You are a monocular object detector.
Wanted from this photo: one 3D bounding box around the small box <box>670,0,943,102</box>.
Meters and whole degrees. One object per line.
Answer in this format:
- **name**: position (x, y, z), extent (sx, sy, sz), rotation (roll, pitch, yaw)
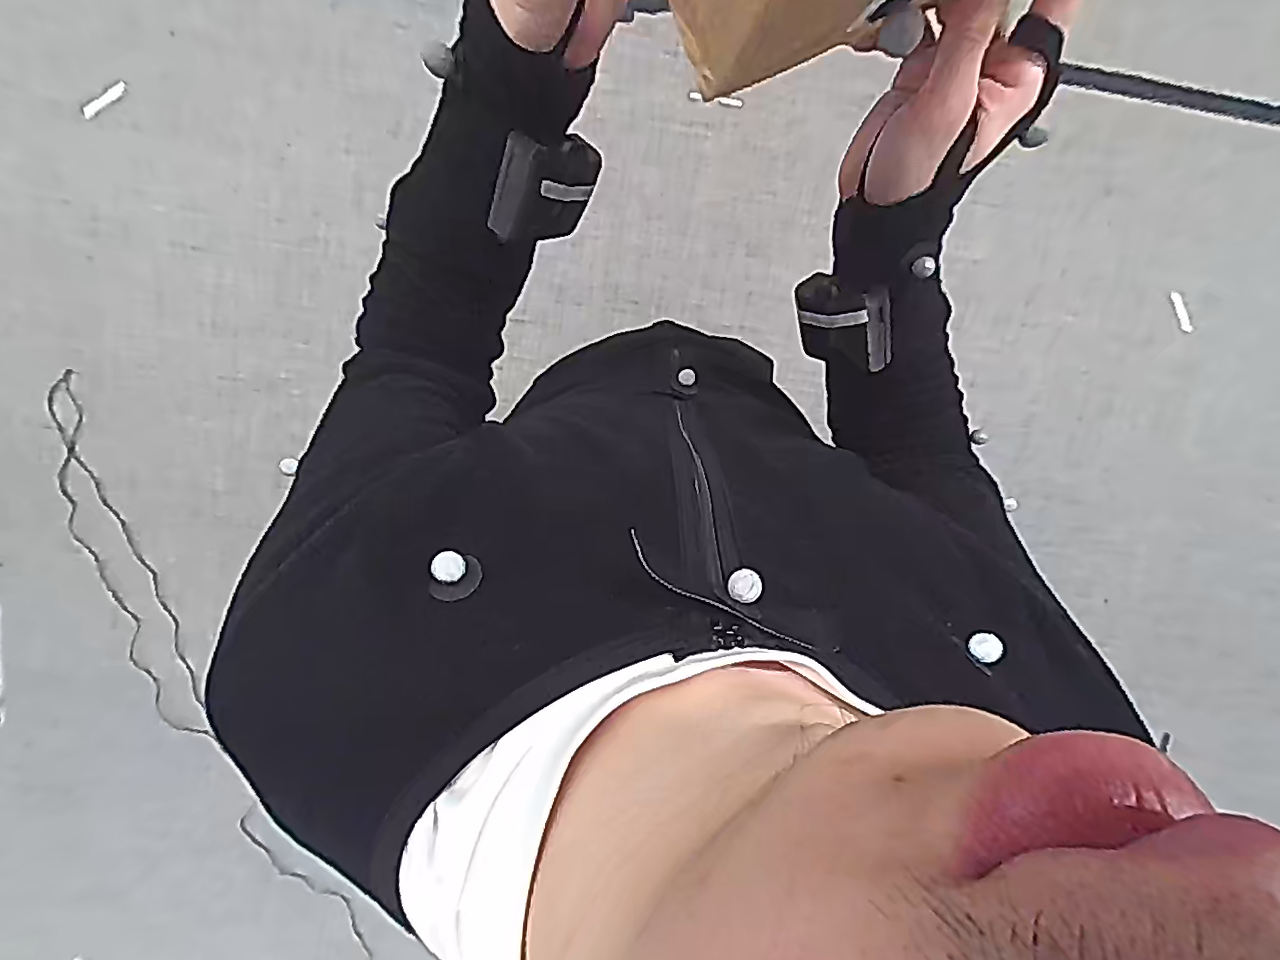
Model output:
- **small box**: position (0.076, -0.253, 0.146), extent (0.168, 0.176, 0.179), rotation (-25, 110, 5)
